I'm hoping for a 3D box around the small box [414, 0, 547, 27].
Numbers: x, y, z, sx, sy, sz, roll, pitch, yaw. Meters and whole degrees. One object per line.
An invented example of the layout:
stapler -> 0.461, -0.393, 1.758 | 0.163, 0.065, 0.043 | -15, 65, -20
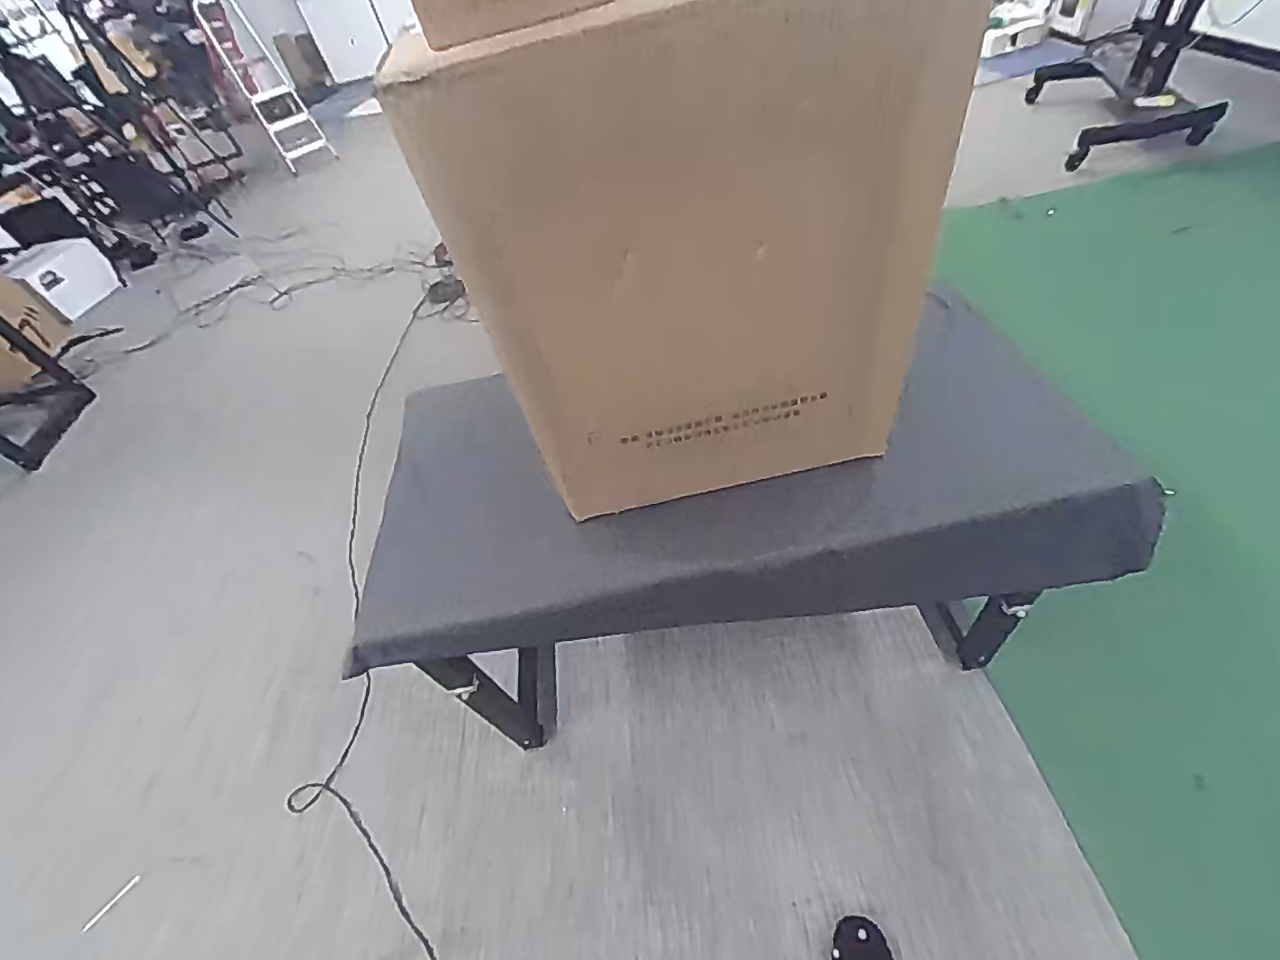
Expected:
small box -> -0.134, -0.503, 0.437 | 0.168, 0.176, 0.179 | -17, 52, 0
